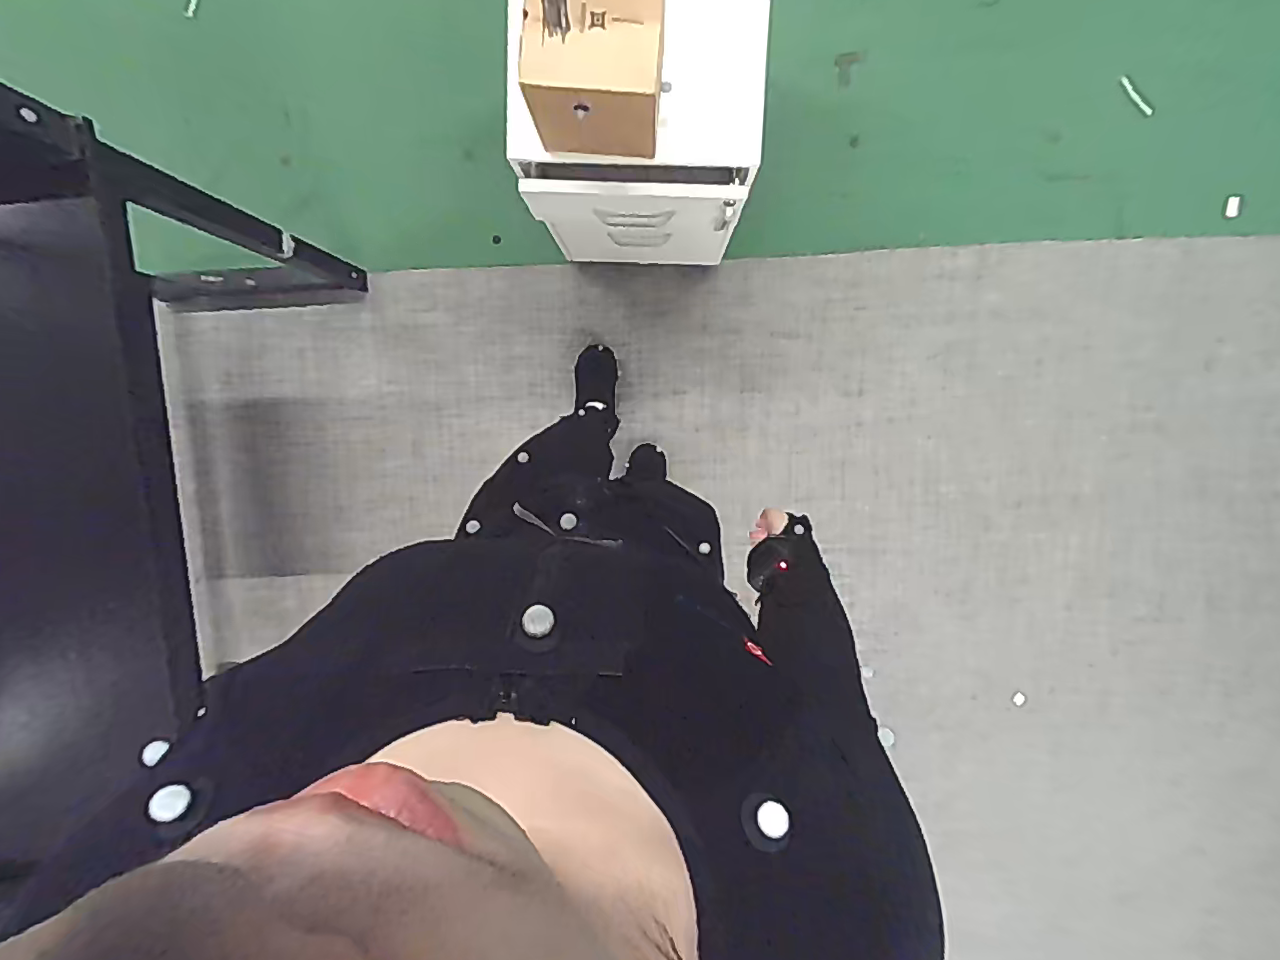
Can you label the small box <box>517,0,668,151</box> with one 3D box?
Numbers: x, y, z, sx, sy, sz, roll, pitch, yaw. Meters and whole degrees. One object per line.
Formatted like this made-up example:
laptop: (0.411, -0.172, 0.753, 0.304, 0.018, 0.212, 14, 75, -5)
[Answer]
small box: (-0.056, -0.574, 0.732, 0.179, 0.176, 0.168, 5, 96, 0)
